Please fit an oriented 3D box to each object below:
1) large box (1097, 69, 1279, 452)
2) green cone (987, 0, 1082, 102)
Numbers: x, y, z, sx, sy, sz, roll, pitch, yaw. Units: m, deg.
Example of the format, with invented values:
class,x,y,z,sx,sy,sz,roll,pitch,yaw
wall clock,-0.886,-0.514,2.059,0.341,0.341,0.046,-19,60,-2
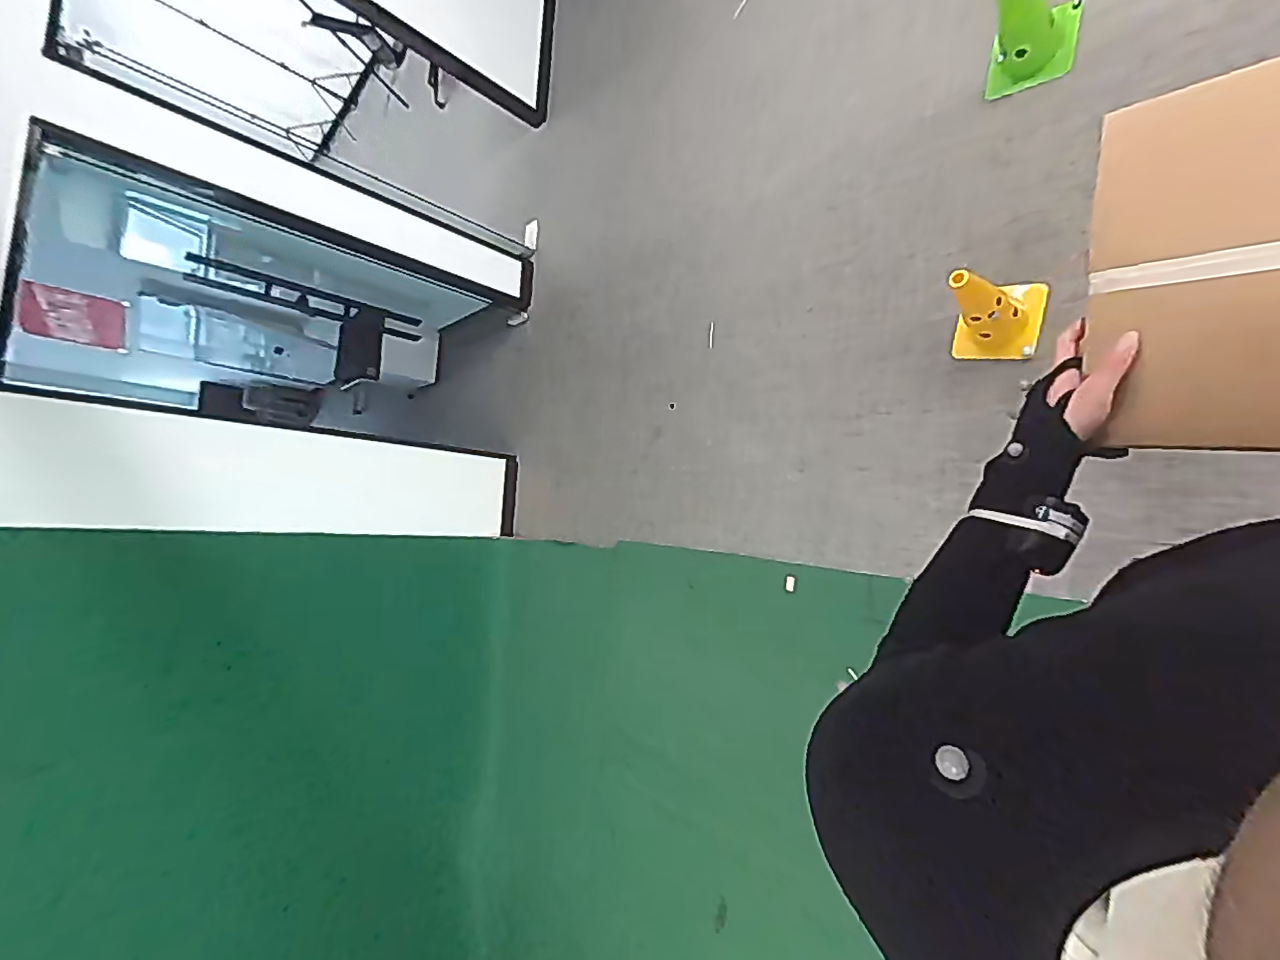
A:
class,x,y,z,sx,sy,sz,roll,pitch,yaw
large box,0.693,-0.182,0.479,0.408,0.320,0.320,5,96,48
green cone,0.955,-1.186,1.369,0.200,0.368,0.202,8,92,47
